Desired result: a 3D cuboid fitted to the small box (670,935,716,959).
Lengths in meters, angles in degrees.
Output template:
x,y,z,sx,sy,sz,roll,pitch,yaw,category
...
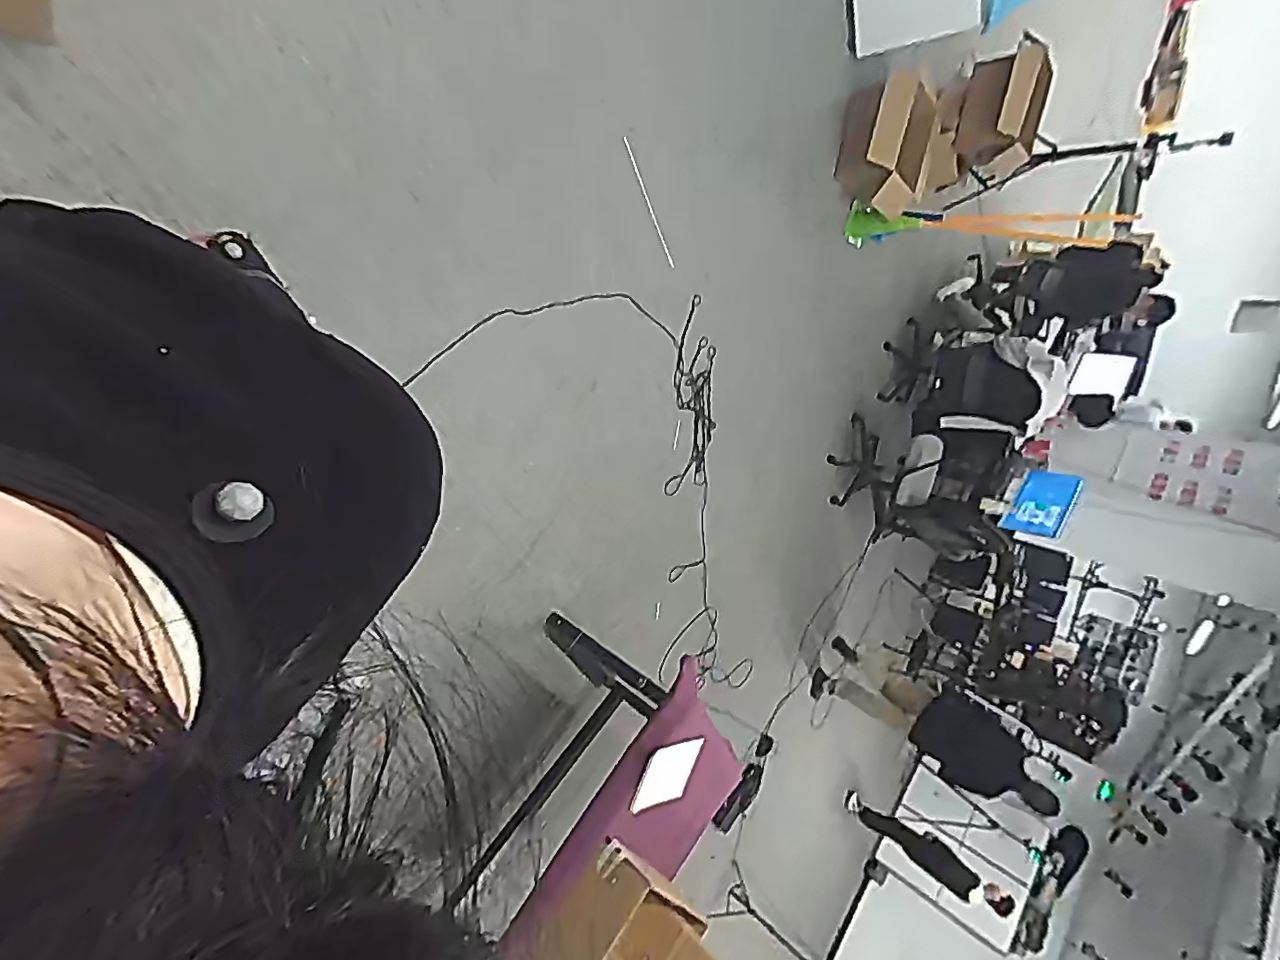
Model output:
x,y,z,sx,sy,sz,roll,pitch,yaw,category
0.161,1.403,1.480,0.168,0.176,0.179,-46,132,-25,small box
